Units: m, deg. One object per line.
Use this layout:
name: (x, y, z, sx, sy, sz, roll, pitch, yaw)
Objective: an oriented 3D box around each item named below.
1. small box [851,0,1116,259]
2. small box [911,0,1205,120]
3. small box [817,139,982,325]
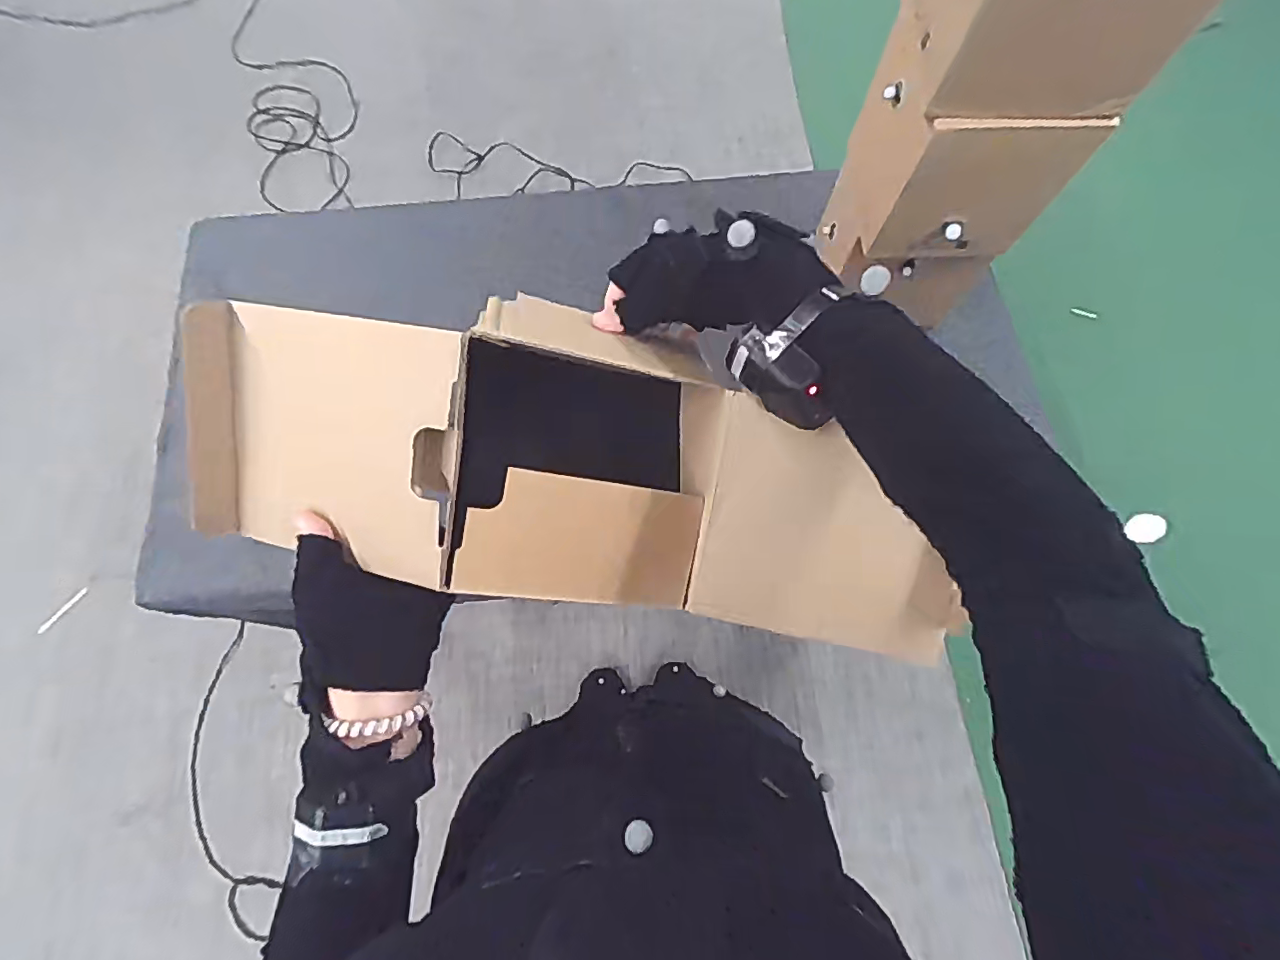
small box: (0.342, -0.367, 0.581, 0.168, 0.176, 0.179, 0, 73, 1)
small box: (0.336, -0.420, 0.427, 0.179, 0.176, 0.168, 2, 73, 2)
small box: (0.351, -0.332, 0.742, 0.179, 0.176, 0.168, 6, 72, 2)
